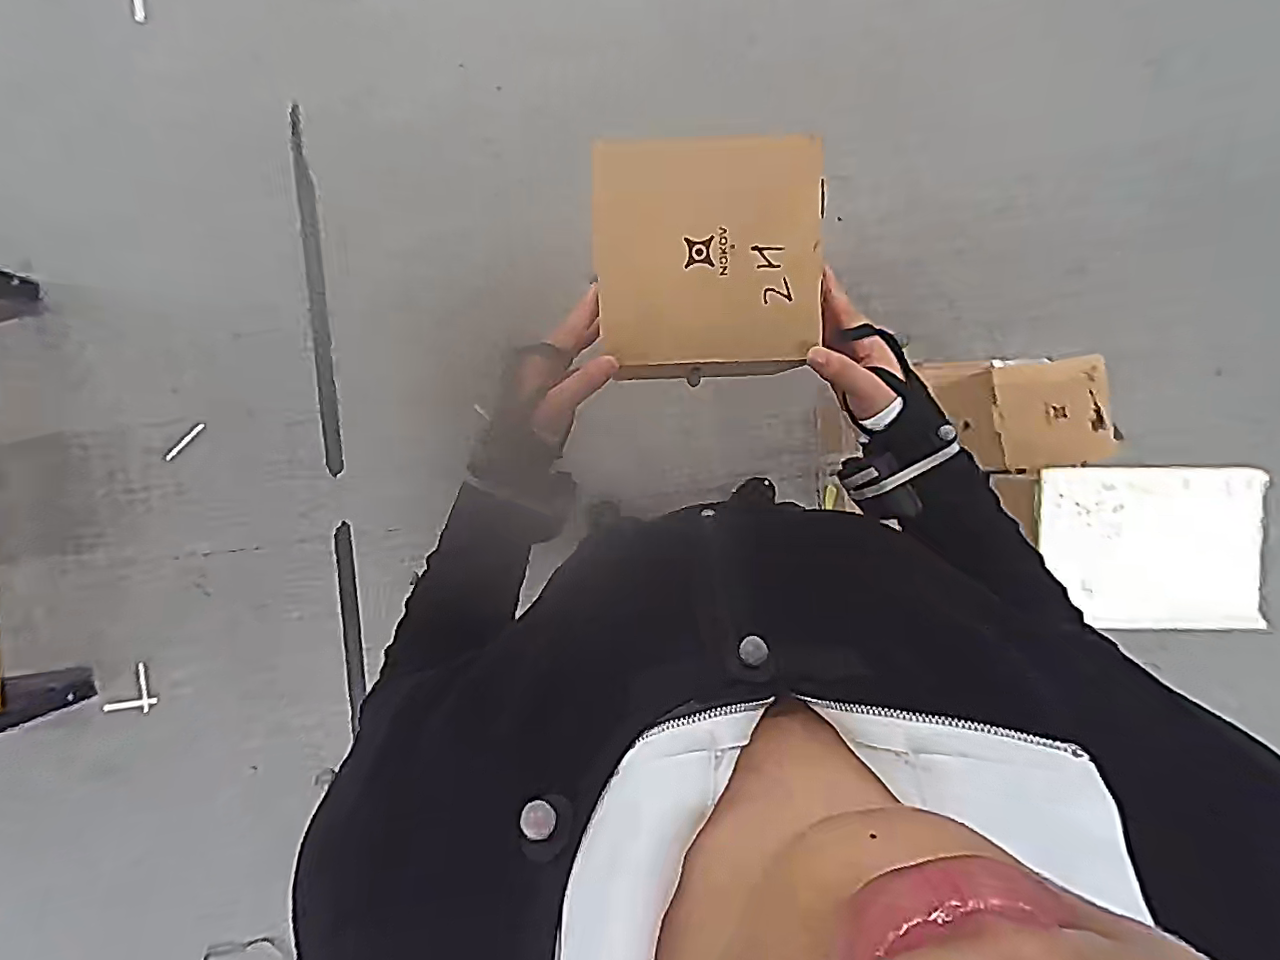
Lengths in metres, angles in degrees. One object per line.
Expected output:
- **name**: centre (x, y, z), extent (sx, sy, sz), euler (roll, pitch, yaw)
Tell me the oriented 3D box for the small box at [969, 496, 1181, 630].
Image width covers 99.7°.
- **small box**: centre (0.620, 0.111, 0.789), extent (0.179, 0.176, 0.168), euler (0, 92, 2)
